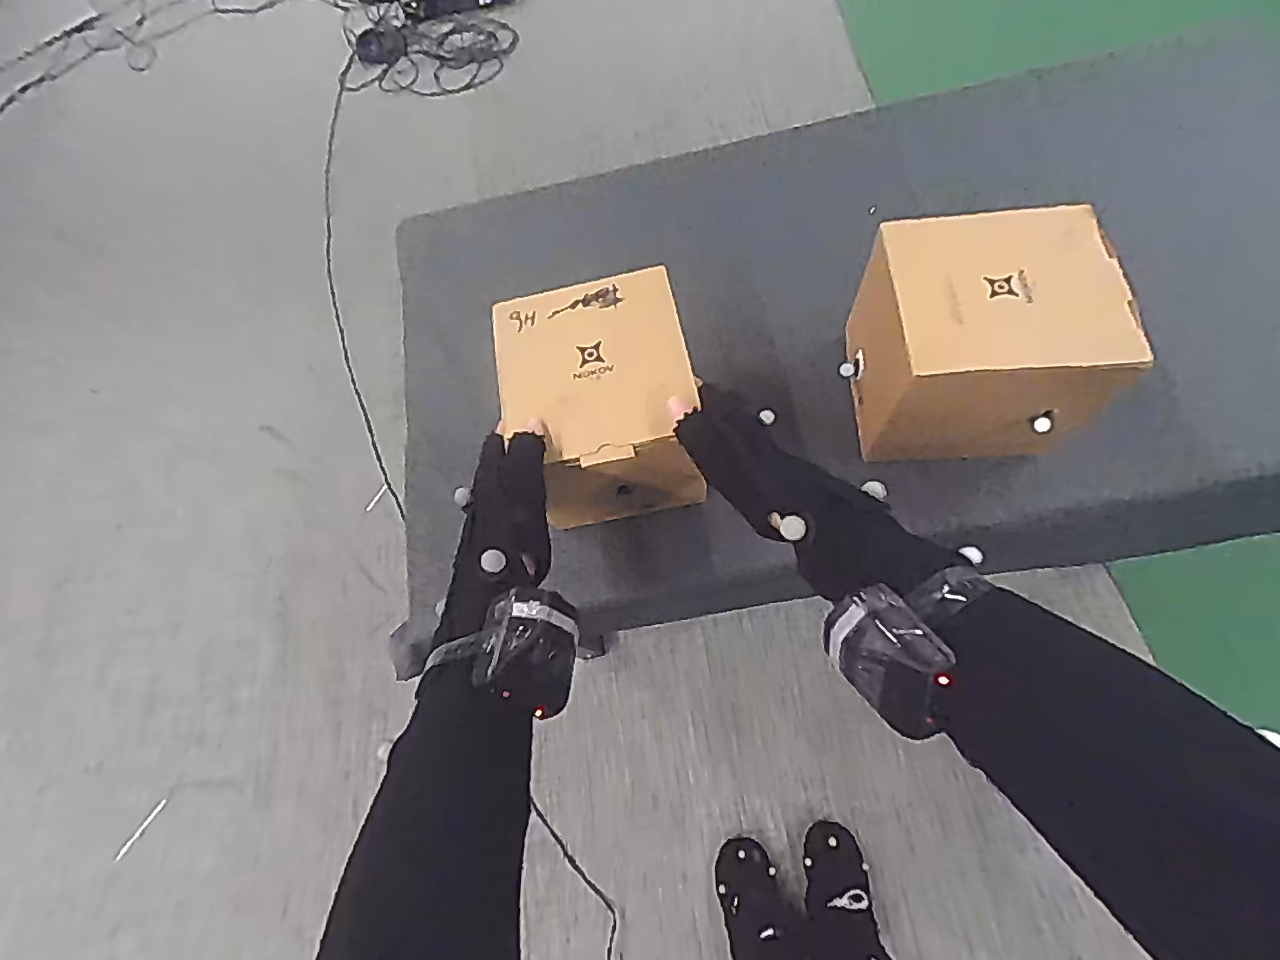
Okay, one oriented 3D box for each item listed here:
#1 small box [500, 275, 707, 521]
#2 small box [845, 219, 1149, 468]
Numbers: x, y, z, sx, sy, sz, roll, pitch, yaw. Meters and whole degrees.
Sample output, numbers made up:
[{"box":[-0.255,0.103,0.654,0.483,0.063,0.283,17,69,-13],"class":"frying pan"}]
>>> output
[{"box":[-0.028,-0.065,0.541,0.168,0.176,0.179,-11,70,3],"class":"small box"},{"box":[0.315,-0.119,0.524,0.179,0.176,0.168,-2,67,7],"class":"small box"}]
